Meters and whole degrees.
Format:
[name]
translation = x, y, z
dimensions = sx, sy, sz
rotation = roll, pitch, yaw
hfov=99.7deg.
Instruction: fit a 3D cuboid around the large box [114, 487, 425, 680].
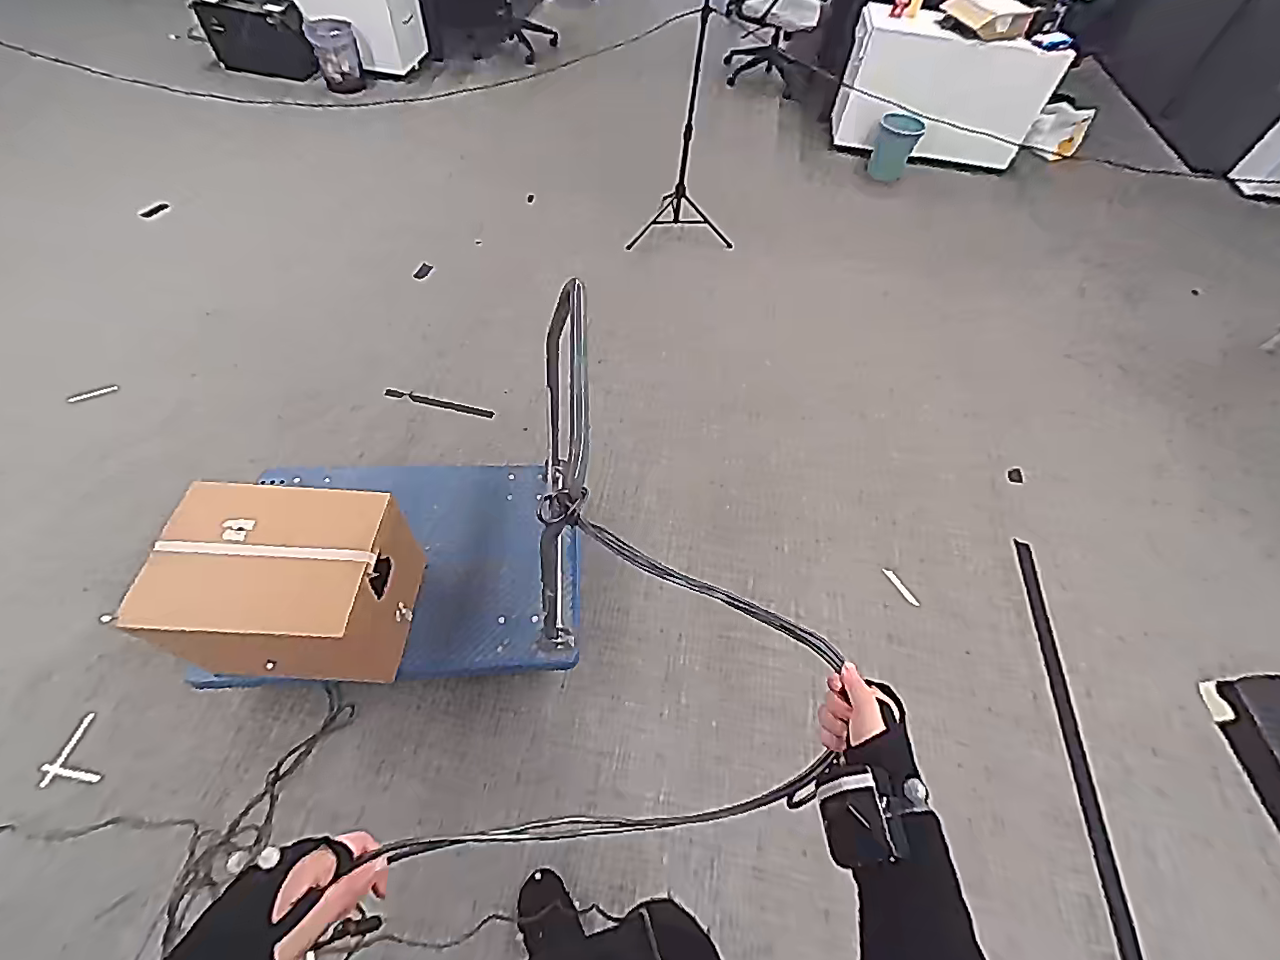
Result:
[large box]
translation = -0.729, 0.232, 1.158
dimensions = 0.408, 0.320, 0.320
rotation = 4, 54, -2
